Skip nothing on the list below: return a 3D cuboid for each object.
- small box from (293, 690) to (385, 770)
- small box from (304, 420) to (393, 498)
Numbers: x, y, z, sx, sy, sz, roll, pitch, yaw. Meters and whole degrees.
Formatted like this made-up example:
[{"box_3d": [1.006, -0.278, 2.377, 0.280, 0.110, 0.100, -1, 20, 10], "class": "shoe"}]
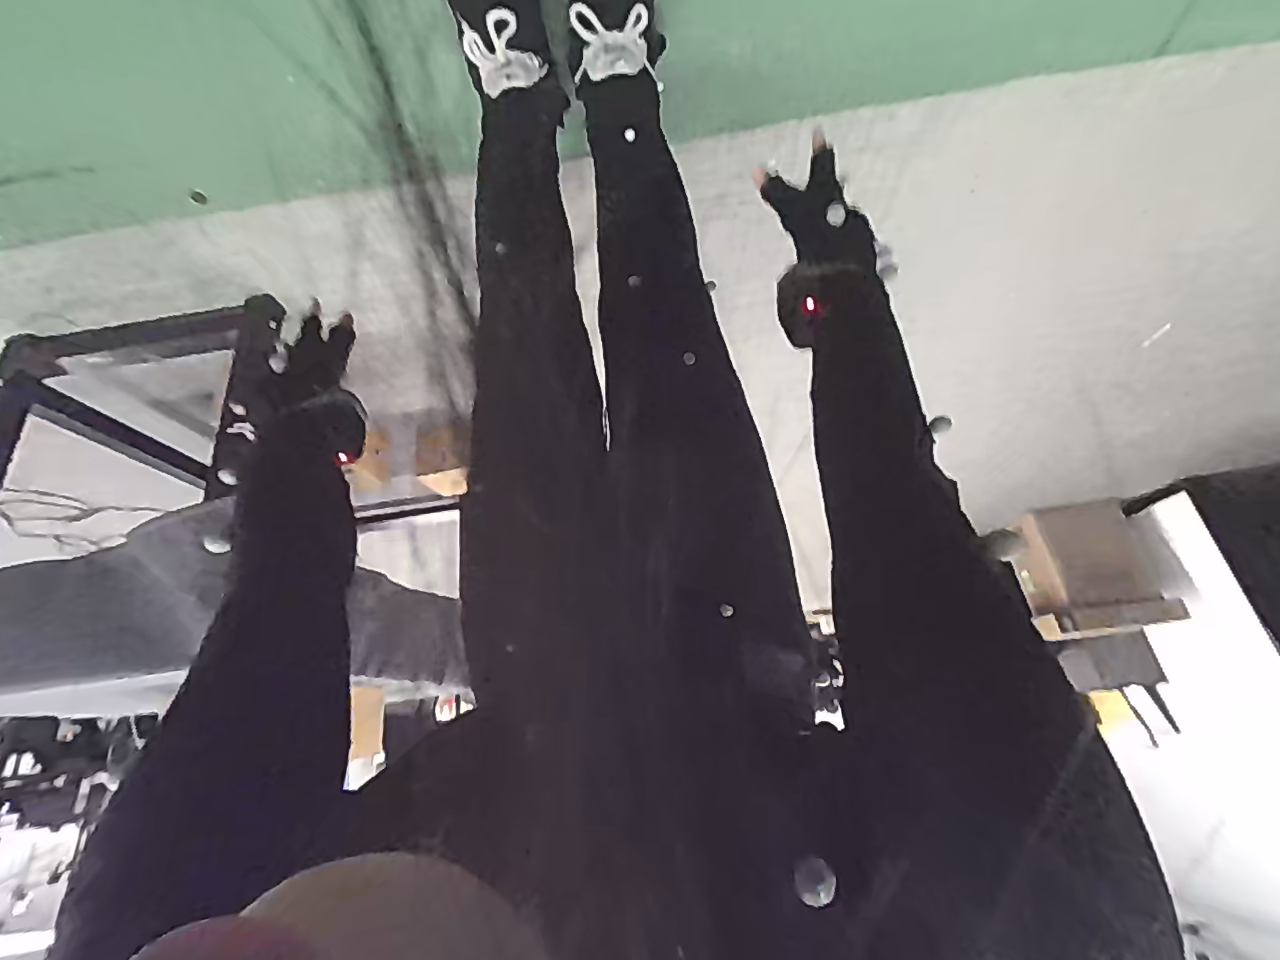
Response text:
[{"box_3d": [-0.769, 0.627, 1.367, 0.168, 0.176, 0.179, -10, 156, 7], "class": "small box"}, {"box_3d": [-0.844, -0.066, 1.580, 0.168, 0.176, 0.179, -9, 158, 4], "class": "small box"}]
